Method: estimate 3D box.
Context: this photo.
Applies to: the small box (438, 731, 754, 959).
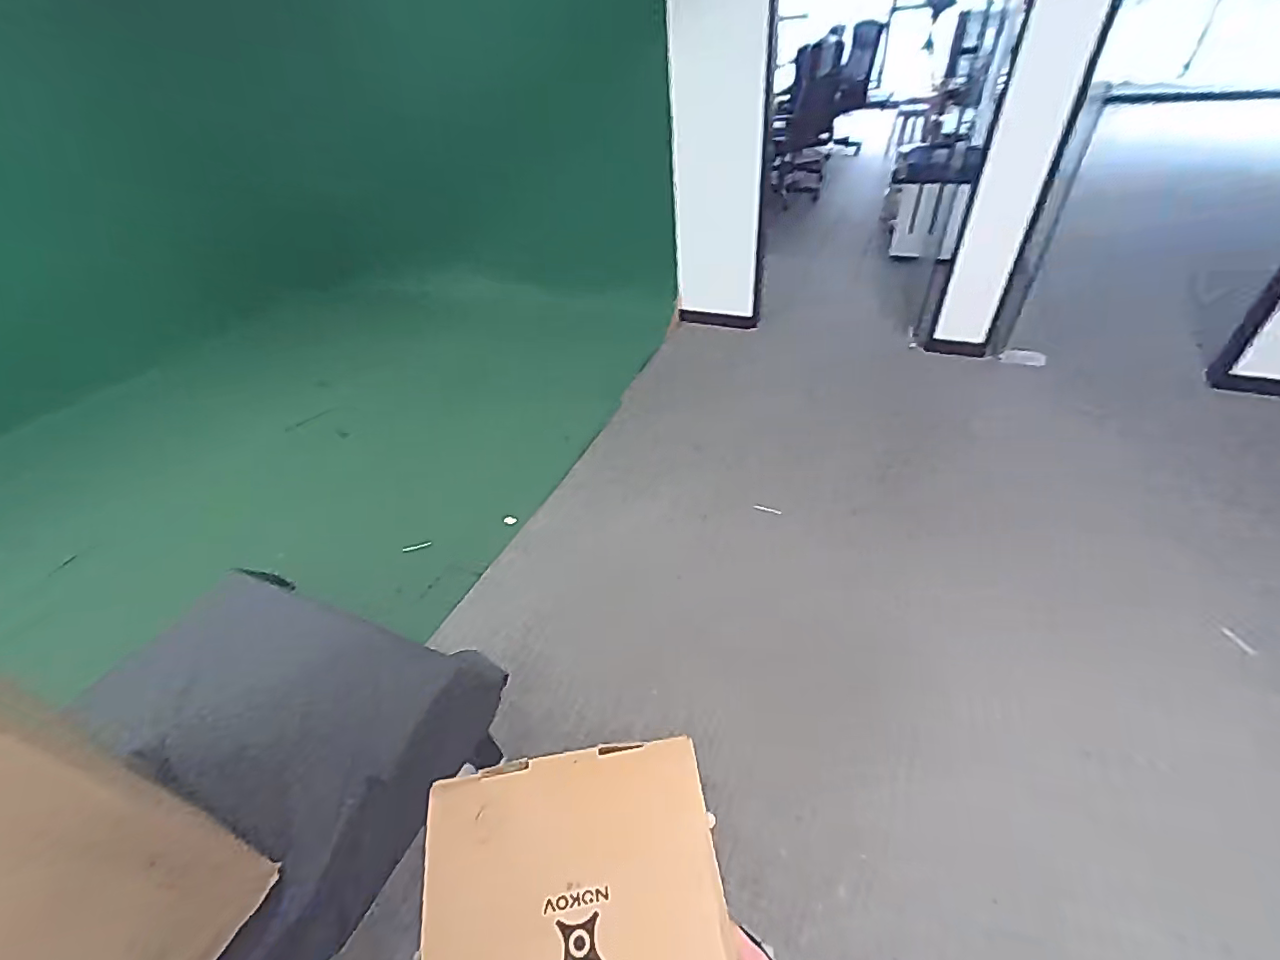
[{"bbox_3d":[-0.028,0.289,0.353,0.168,0.176,0.179,-8,54,-8],"label":"small box"}]
